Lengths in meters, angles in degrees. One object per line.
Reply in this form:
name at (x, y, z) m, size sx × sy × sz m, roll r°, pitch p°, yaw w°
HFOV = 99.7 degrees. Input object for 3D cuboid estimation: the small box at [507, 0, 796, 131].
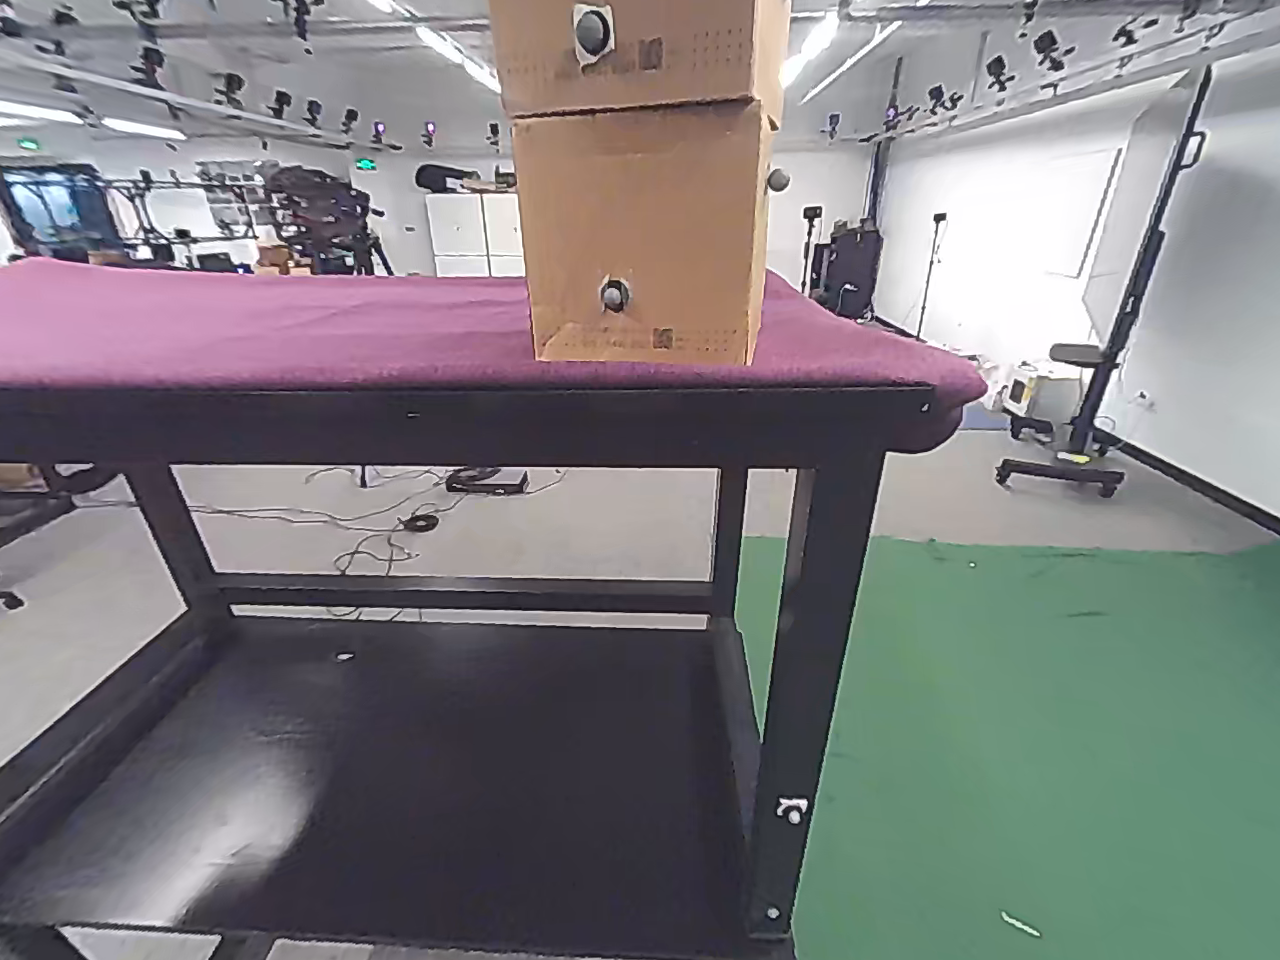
small box at (0.016, -0.329, 0.364) m, size 0.168 × 0.176 × 0.179 m, roll 6°, pitch 29°, yaw 16°

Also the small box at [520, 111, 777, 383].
small box at (0.018, -0.188, 0.444) m, size 0.168 × 0.176 × 0.179 m, roll 5°, pitch 28°, yaw 12°
